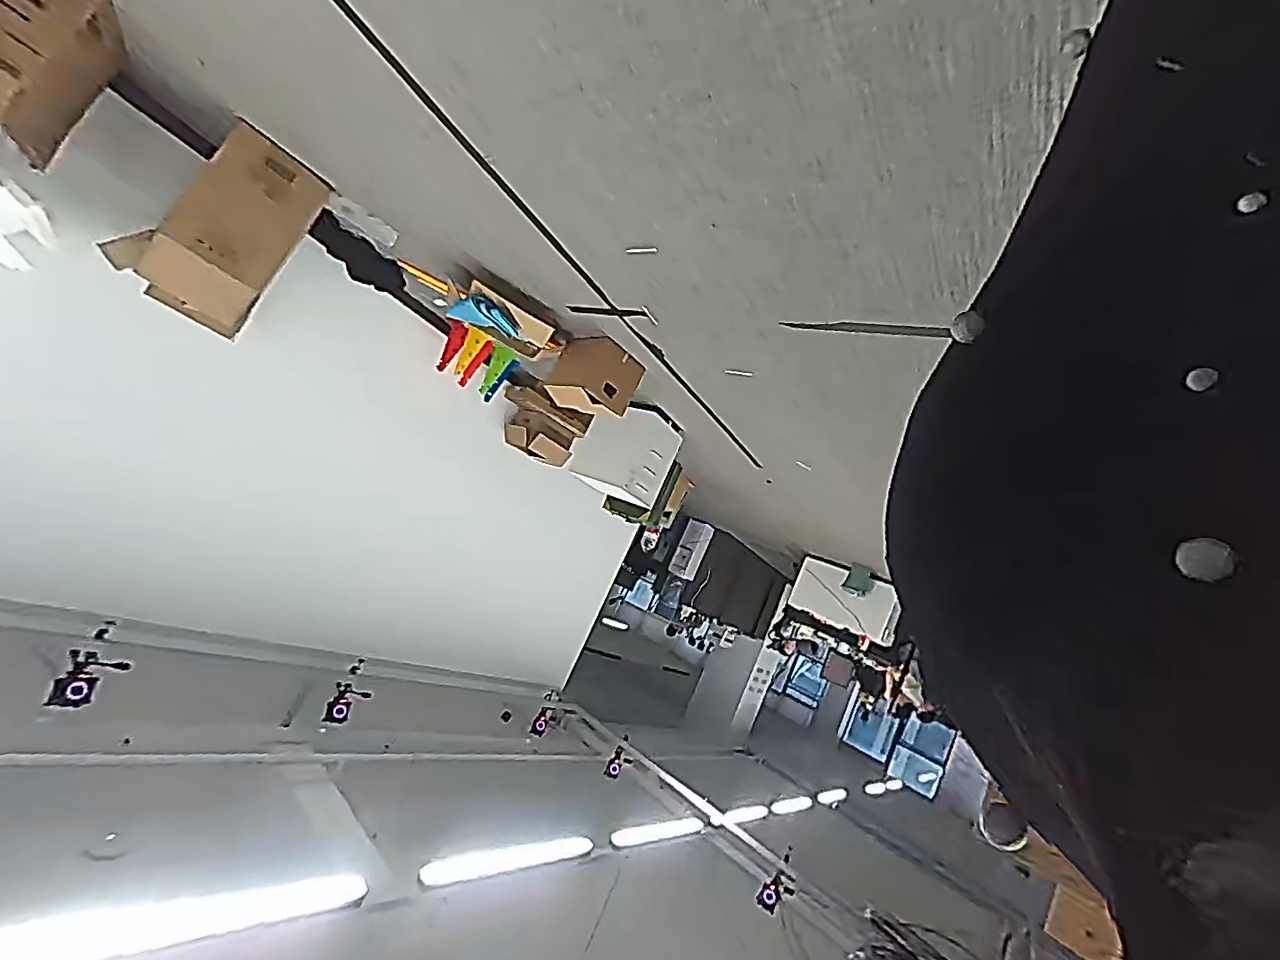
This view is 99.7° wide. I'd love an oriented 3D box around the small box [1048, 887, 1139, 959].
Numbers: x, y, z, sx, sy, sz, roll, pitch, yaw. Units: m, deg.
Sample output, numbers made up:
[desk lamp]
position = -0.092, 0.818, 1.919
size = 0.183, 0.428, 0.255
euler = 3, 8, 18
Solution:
[small box]
position = 1.456, 1.452, 1.729
size = 0.168, 0.176, 0.179
euler = 33, 167, -29
